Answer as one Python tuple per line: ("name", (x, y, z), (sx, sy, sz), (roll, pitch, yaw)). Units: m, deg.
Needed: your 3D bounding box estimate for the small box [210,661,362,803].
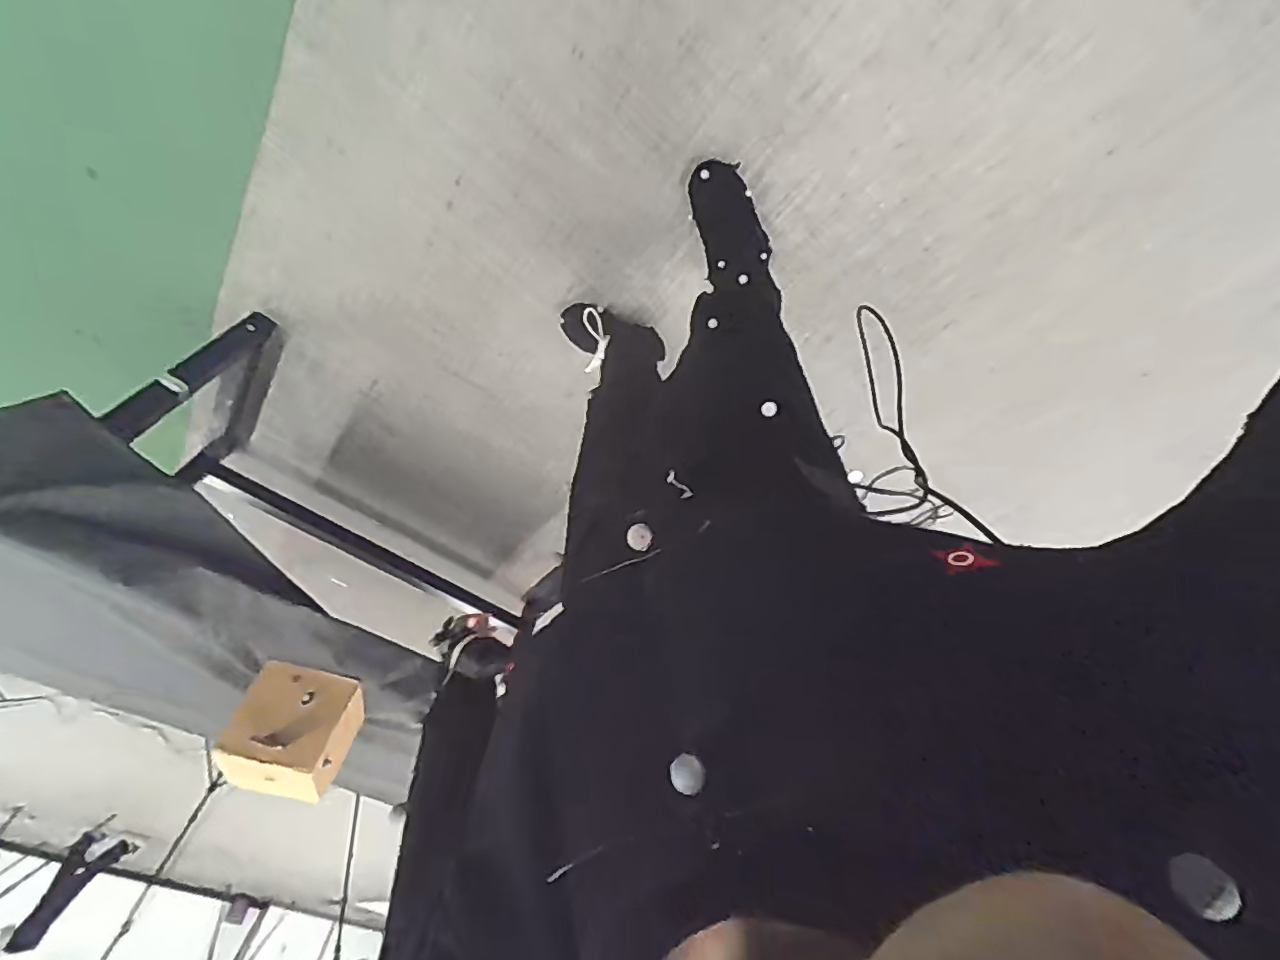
("small box", (-0.636, 0.465, 1.001), (0.168, 0.176, 0.179), (17, 132, -7))
